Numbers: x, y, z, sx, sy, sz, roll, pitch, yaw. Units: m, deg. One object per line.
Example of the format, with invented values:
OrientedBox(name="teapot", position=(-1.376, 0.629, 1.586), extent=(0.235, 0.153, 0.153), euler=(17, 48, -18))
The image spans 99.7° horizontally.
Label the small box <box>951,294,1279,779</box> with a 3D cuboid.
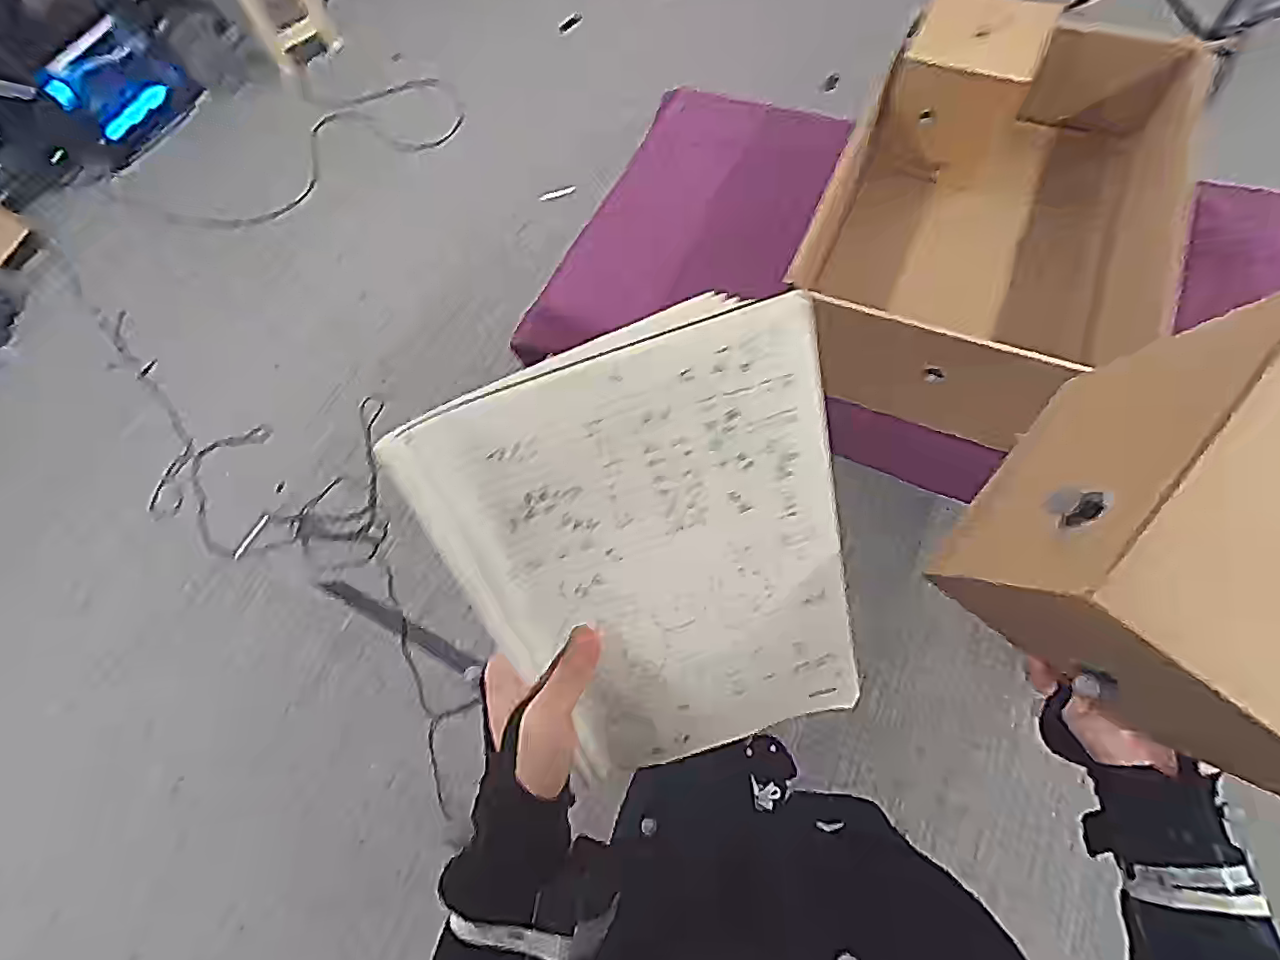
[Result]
OrientedBox(name="small box", position=(0.305, 0.038, 0.286), extent=(0.168, 0.176, 0.179), euler=(38, 88, 8))
